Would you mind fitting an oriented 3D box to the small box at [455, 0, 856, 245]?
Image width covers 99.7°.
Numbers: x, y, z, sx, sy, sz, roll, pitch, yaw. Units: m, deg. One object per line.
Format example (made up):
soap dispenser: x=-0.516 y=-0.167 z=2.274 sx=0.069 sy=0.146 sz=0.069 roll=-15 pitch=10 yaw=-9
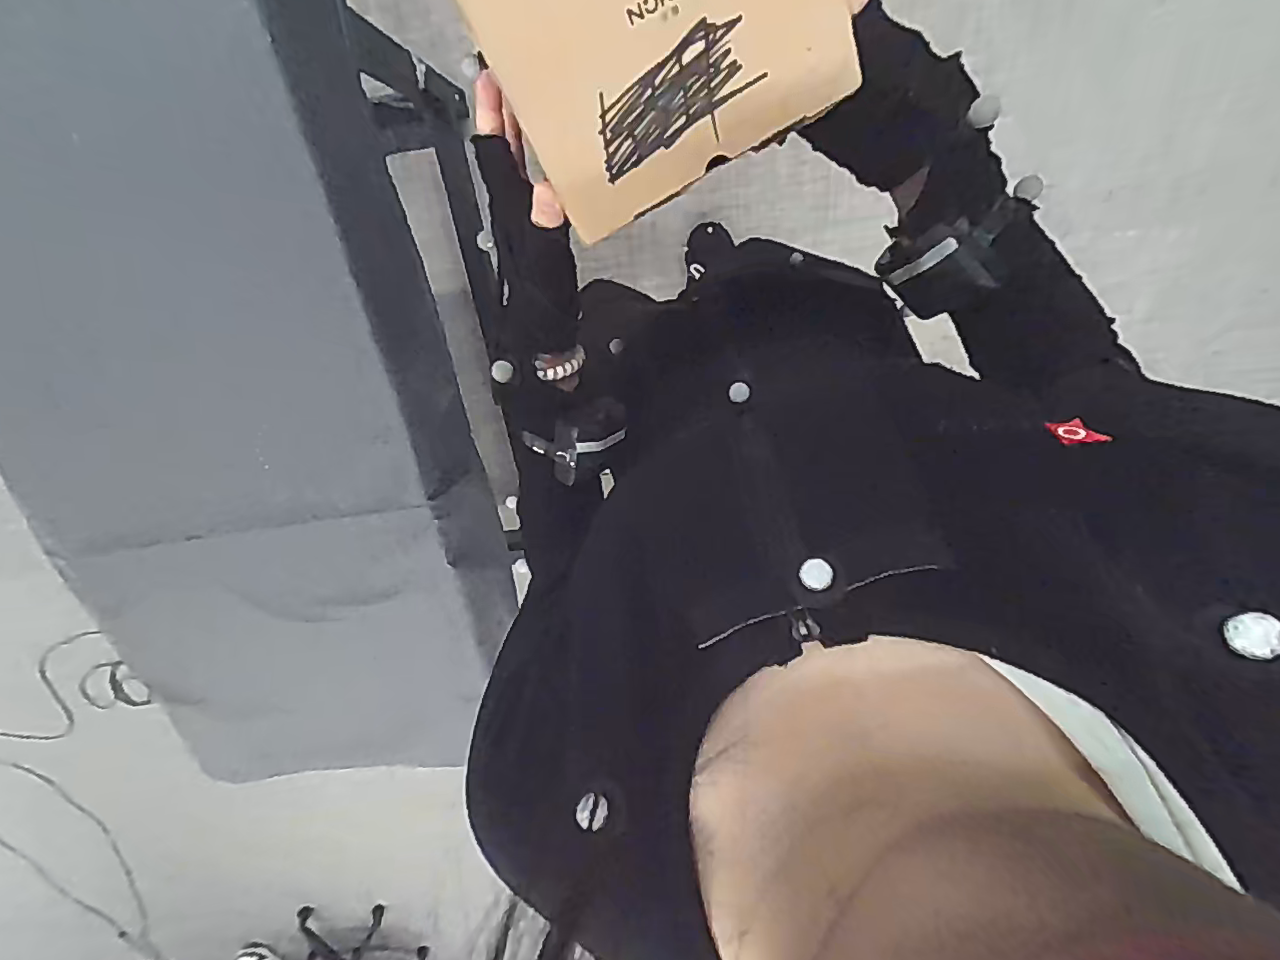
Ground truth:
small box: x=-0.010 y=-0.269 z=0.302 sx=0.168 sy=0.176 sz=0.179 roll=-27 pitch=126 yaw=6
